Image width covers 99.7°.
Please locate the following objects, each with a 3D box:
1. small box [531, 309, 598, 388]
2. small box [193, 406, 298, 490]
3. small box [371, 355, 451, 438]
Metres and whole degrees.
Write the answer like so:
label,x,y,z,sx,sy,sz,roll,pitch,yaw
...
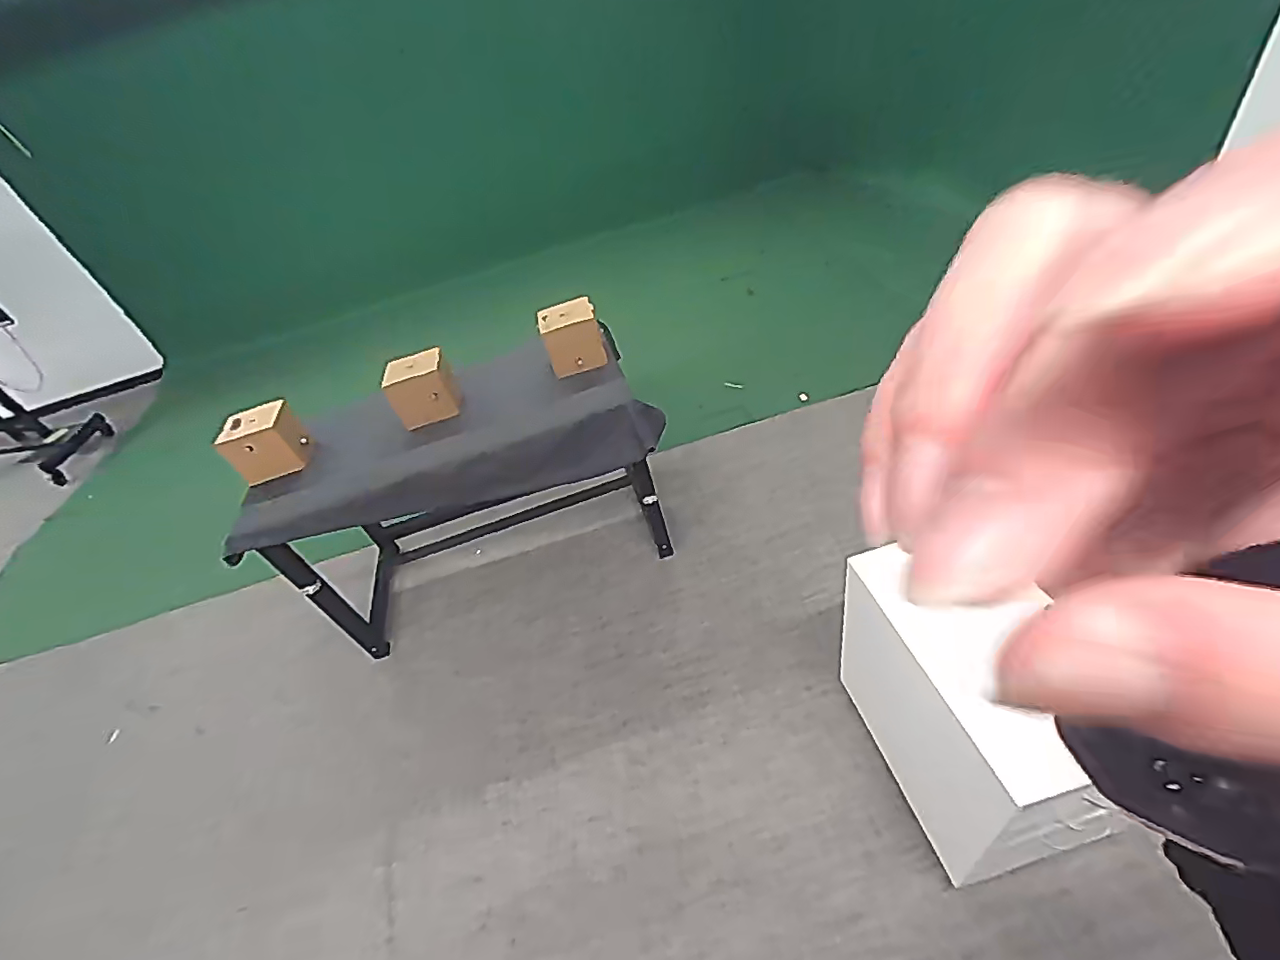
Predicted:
label,x,y,z,sx,sy,sz,roll,pitch,yaw
small box,-0.238,-0.422,1.739,0.179,0.176,0.168,-16,40,-3
small box,-1.180,-0.093,1.633,0.179,0.176,0.168,-19,41,-7
small box,-0.709,-0.260,1.694,0.179,0.176,0.168,-19,39,-4
